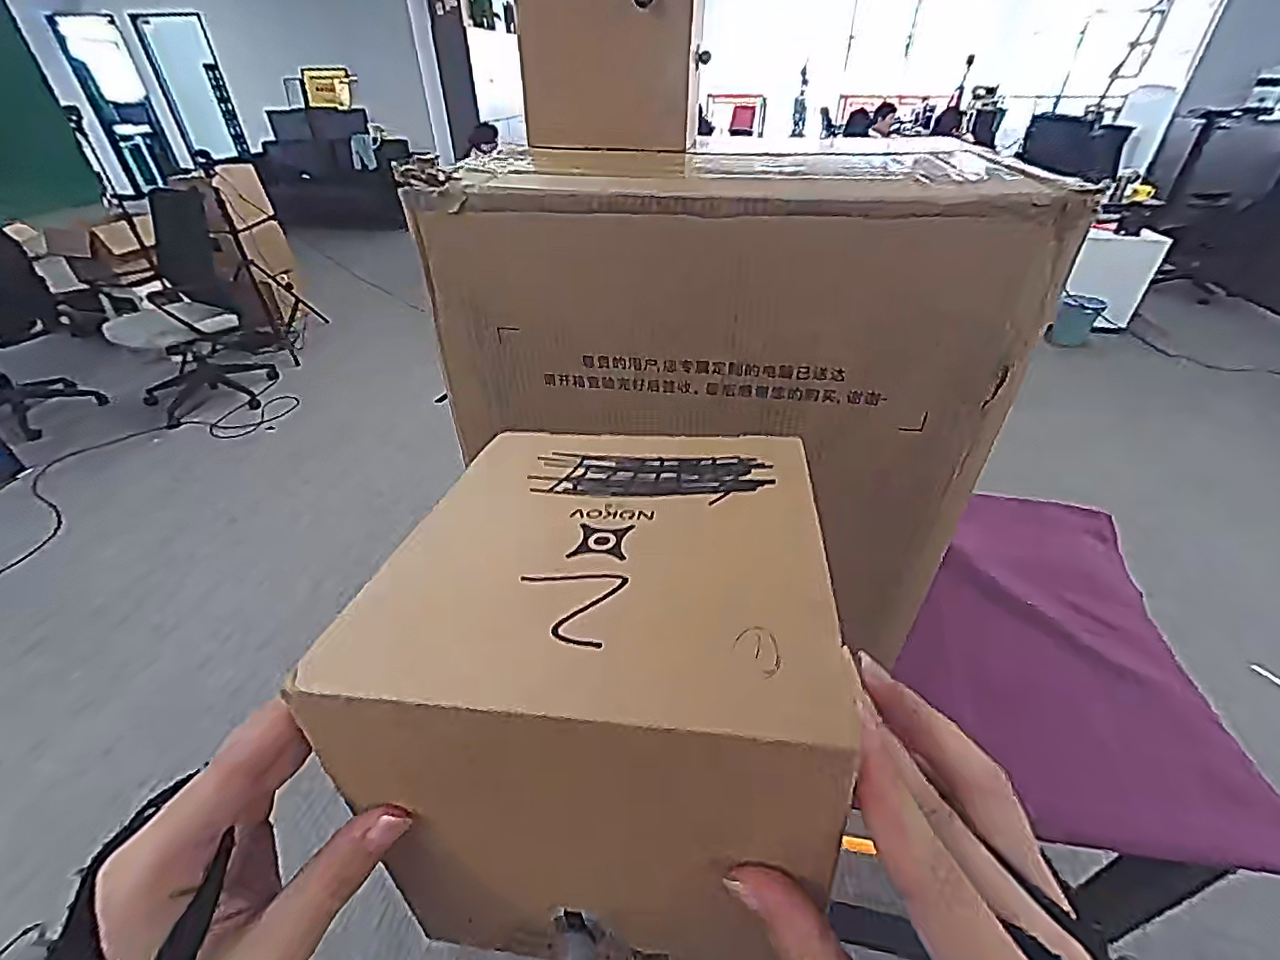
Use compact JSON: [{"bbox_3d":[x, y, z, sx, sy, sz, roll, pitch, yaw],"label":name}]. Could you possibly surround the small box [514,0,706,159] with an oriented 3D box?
[{"bbox_3d":[-0.023,-0.458,0.591,0.179,0.176,0.168,5,36,7],"label":"small box"}]
